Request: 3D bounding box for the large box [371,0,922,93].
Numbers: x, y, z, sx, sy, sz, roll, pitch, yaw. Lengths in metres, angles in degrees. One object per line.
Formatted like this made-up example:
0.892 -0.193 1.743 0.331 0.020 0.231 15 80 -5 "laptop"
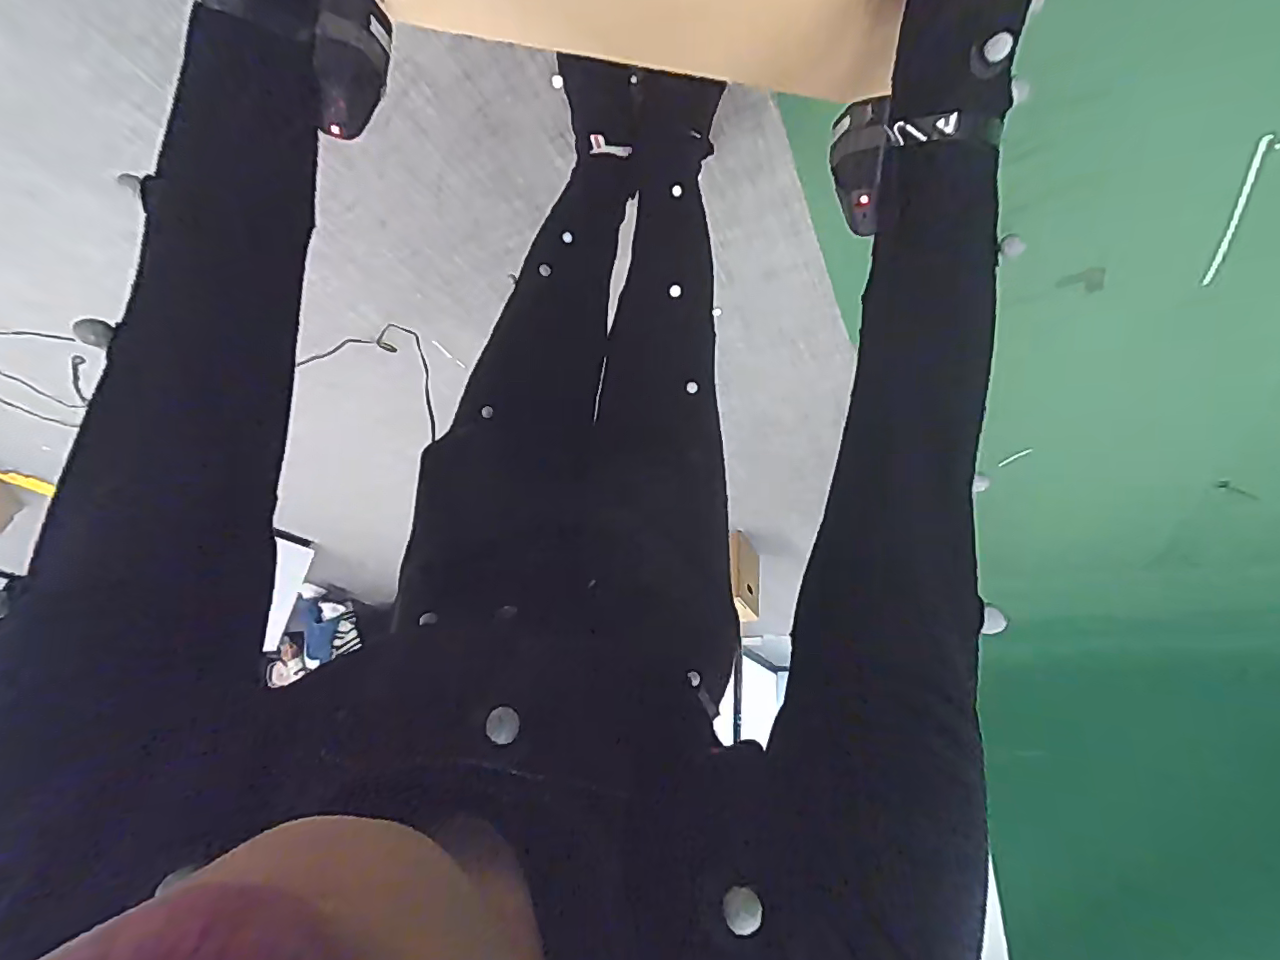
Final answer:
0.025 -0.529 0.354 0.408 0.320 0.320 9 151 -2 "large box"
